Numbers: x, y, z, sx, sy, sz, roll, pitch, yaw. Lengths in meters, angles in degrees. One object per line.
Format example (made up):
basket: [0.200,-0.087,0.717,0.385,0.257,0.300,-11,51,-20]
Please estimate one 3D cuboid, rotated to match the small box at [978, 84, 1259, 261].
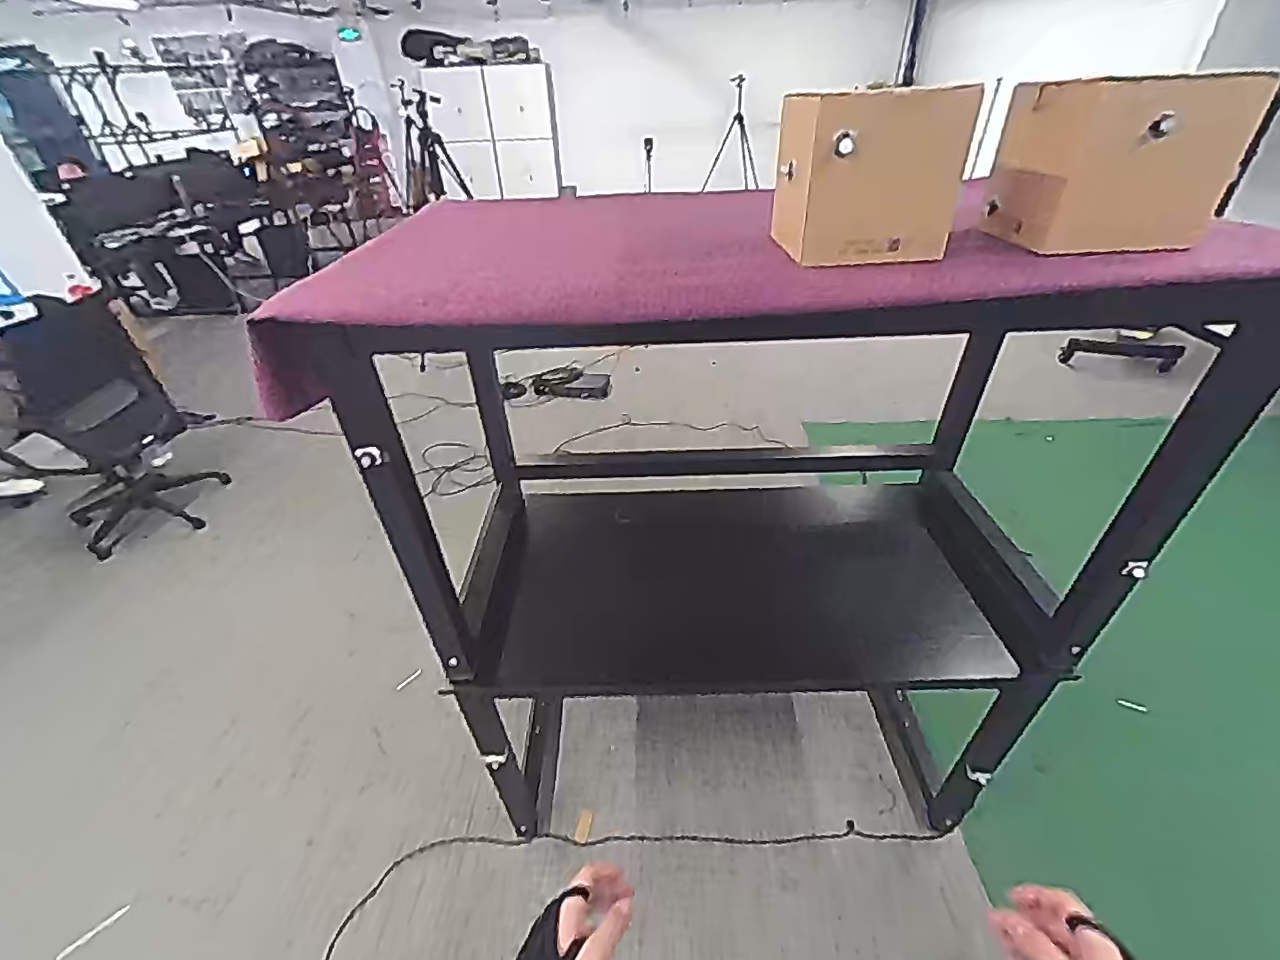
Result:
small box: [0.547,-0.372,0.659,0.179,0.176,0.168,-1,36,2]
